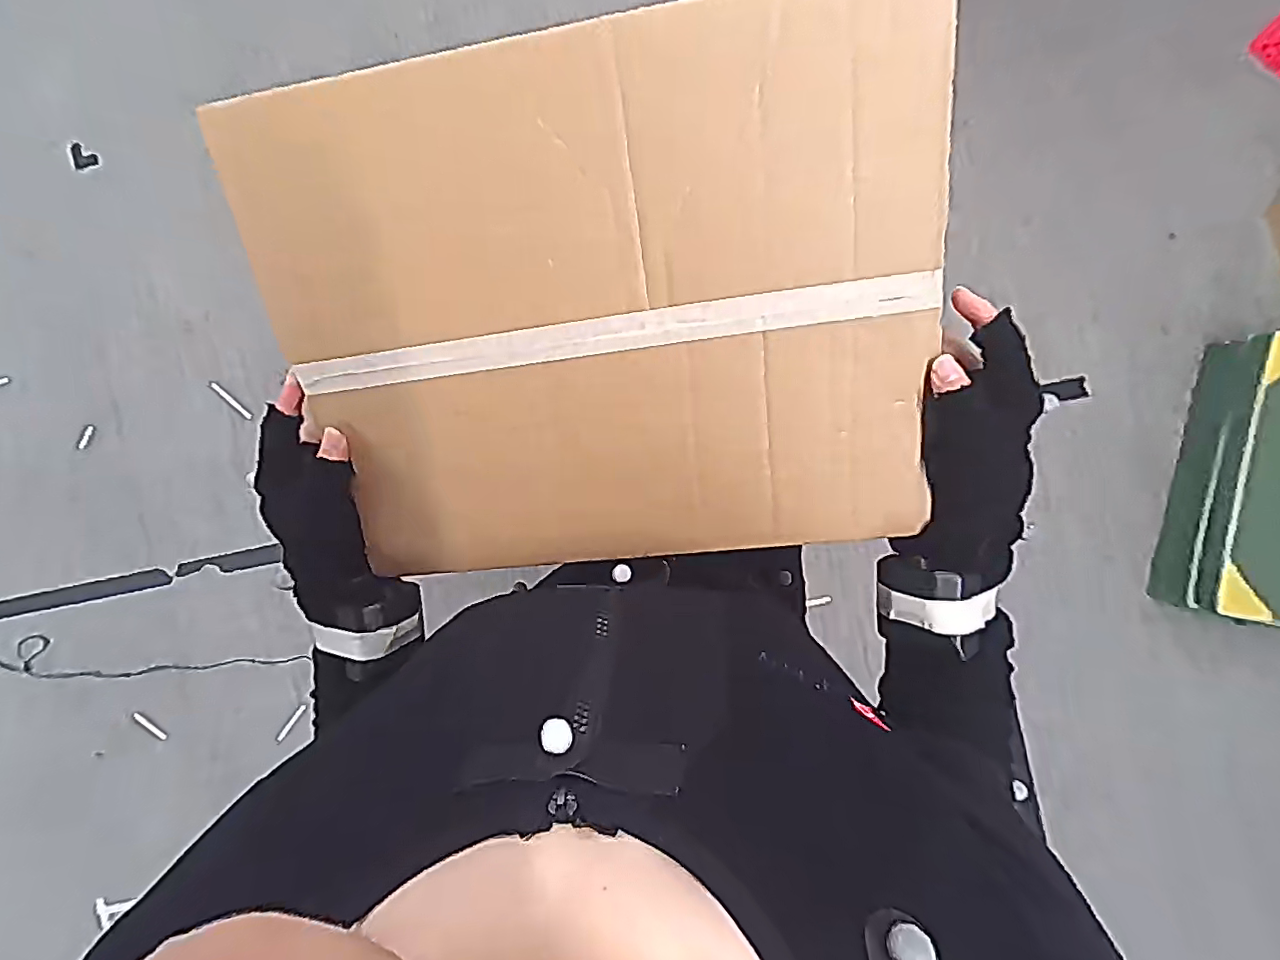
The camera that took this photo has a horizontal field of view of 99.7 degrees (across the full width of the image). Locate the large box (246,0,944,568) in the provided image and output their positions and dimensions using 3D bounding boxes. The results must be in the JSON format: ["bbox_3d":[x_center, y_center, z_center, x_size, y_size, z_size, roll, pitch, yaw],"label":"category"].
[{"bbox_3d":[-0.010,-0.145,0.484,0.408,0.320,0.320,-6,112,8],"label":"large box"}]
